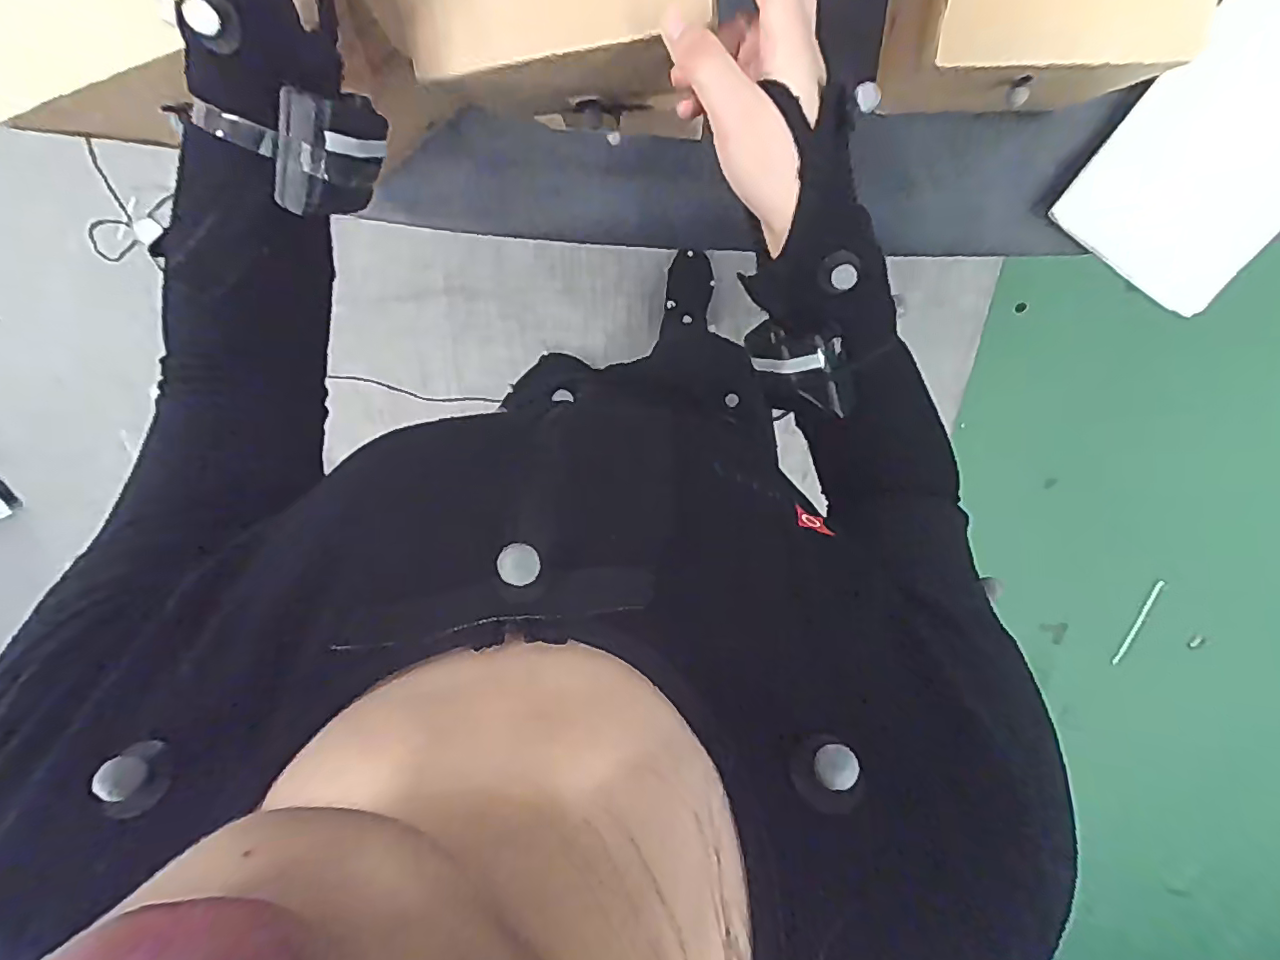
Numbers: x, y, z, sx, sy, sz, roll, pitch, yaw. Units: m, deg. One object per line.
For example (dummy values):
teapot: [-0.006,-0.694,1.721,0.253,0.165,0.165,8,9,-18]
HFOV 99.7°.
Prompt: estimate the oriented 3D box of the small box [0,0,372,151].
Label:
small box: [-0.329,-0.342,0.366,0.179,0.176,0.168,-9,114,13]

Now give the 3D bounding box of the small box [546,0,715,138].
small box: [-0.024,-0.413,0.466,0.168,0.176,0.179,8,117,6]

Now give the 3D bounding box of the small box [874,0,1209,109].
small box: [0.304,-0.402,0.419,0.179,0.176,0.168,4,115,8]

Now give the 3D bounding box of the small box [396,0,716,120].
small box: [-0.043,-0.339,0.322,0.168,0.176,0.179,-3,117,12]
